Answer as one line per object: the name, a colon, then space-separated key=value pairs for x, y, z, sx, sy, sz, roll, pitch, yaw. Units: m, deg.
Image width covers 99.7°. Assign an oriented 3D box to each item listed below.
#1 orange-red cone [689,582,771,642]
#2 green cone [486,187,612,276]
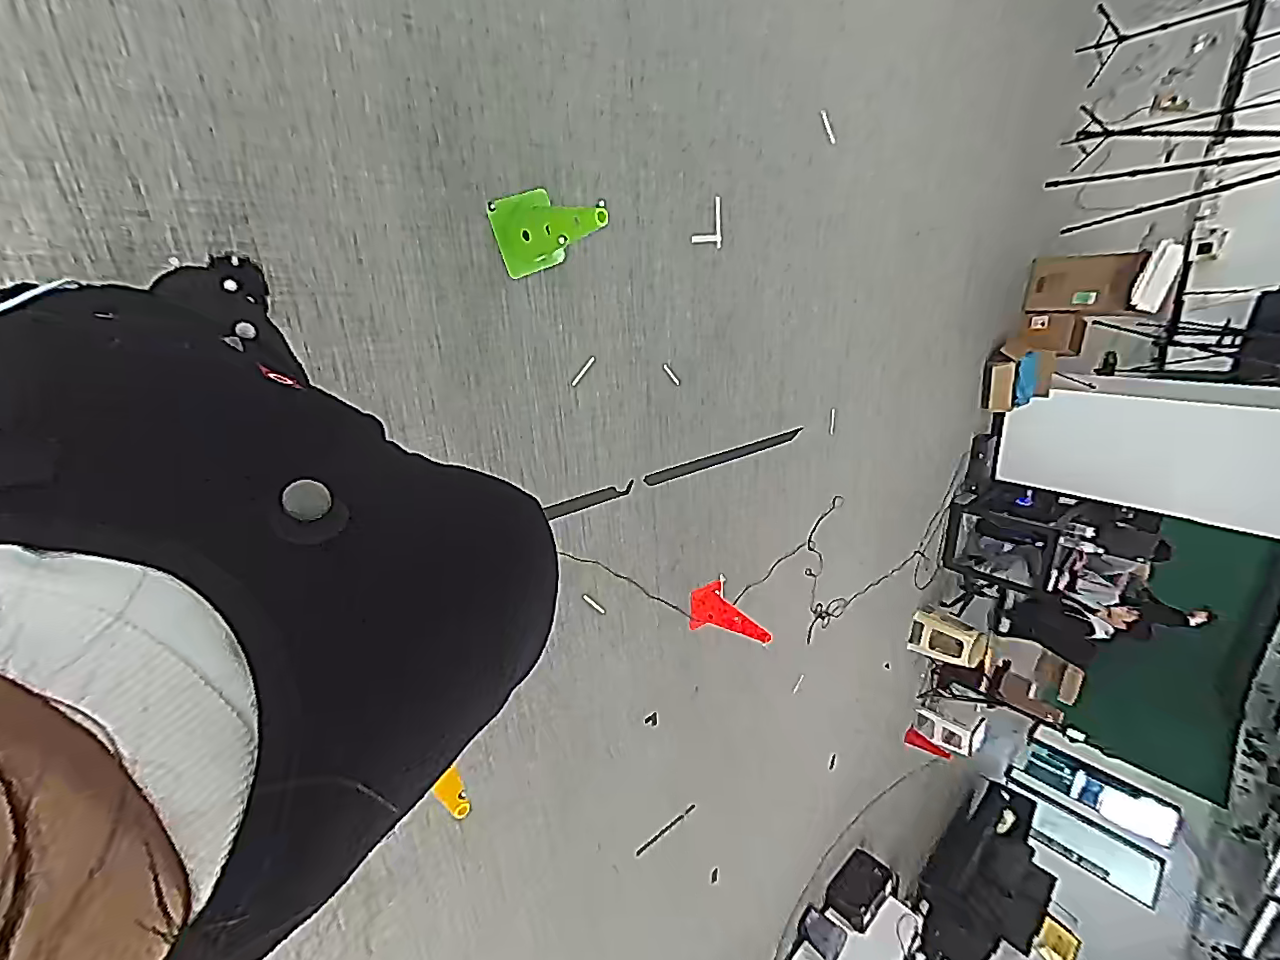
orange-red cone: x=0.406 y=0.607 z=2.329 sx=0.199 sy=0.360 sz=0.198 roll=-9 pitch=109 yaw=-39
green cone: x=-0.202 y=-0.655 z=1.386 sx=0.202 sy=0.368 sz=0.200 roll=-36 pitch=125 yaw=-30
